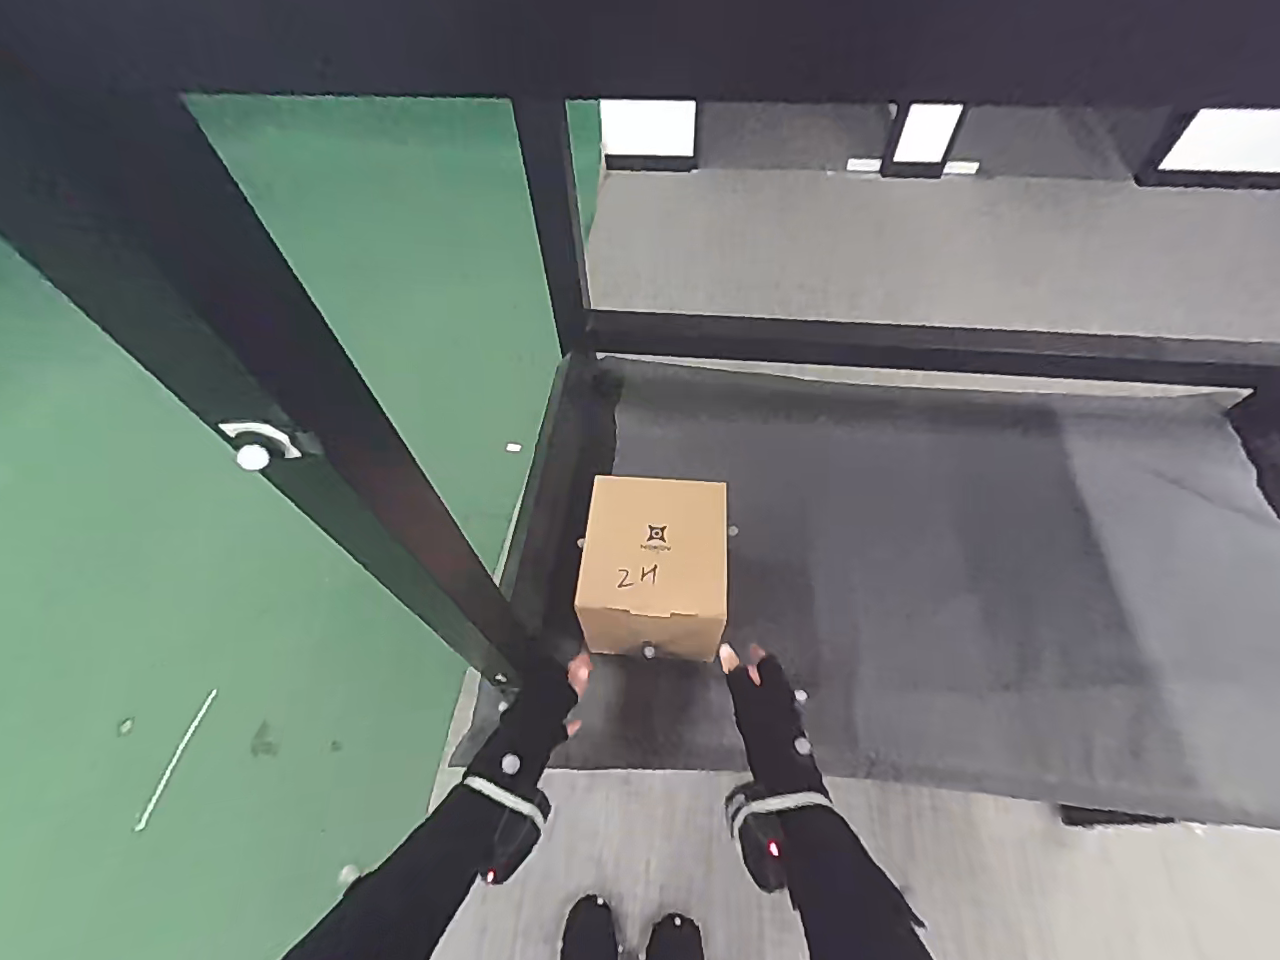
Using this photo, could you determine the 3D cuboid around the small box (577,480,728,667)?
[{"bbox_3d":[0.021,0.122,0.692,0.168,0.176,0.179,3,55,4],"label":"small box"}]
